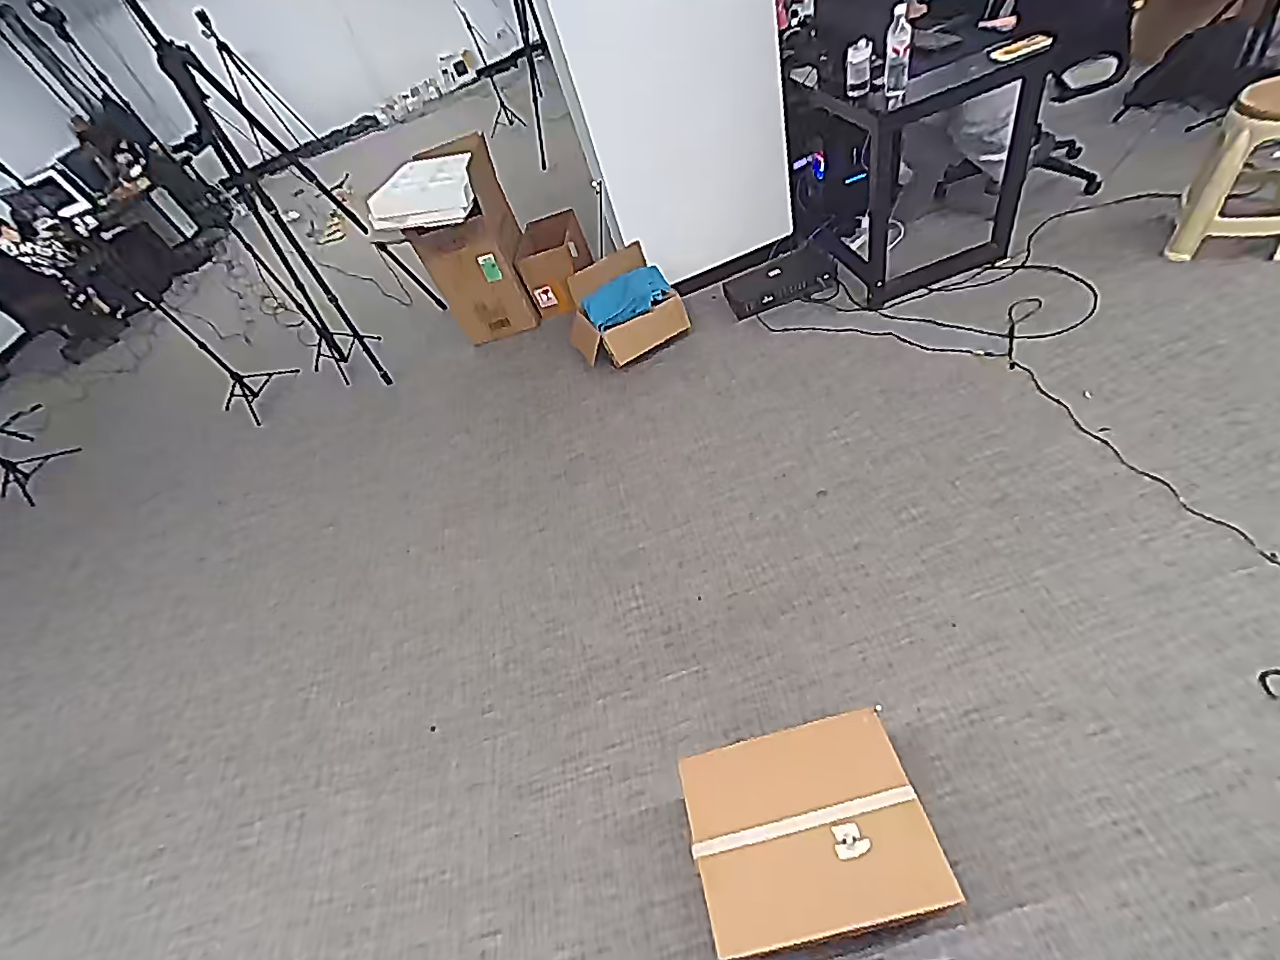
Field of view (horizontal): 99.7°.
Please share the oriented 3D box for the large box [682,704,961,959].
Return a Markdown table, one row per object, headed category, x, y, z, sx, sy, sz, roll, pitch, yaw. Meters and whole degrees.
| category | x | y | z | sx | sy | sz | roll | pitch | yaw |
| --- | --- | --- | --- | --- | --- | --- | --- | --- | --- |
| large box | 0.337 | 0.704 | 1.077 | 0.408 | 0.320 | 0.320 | -18 | 47 | 5 |
